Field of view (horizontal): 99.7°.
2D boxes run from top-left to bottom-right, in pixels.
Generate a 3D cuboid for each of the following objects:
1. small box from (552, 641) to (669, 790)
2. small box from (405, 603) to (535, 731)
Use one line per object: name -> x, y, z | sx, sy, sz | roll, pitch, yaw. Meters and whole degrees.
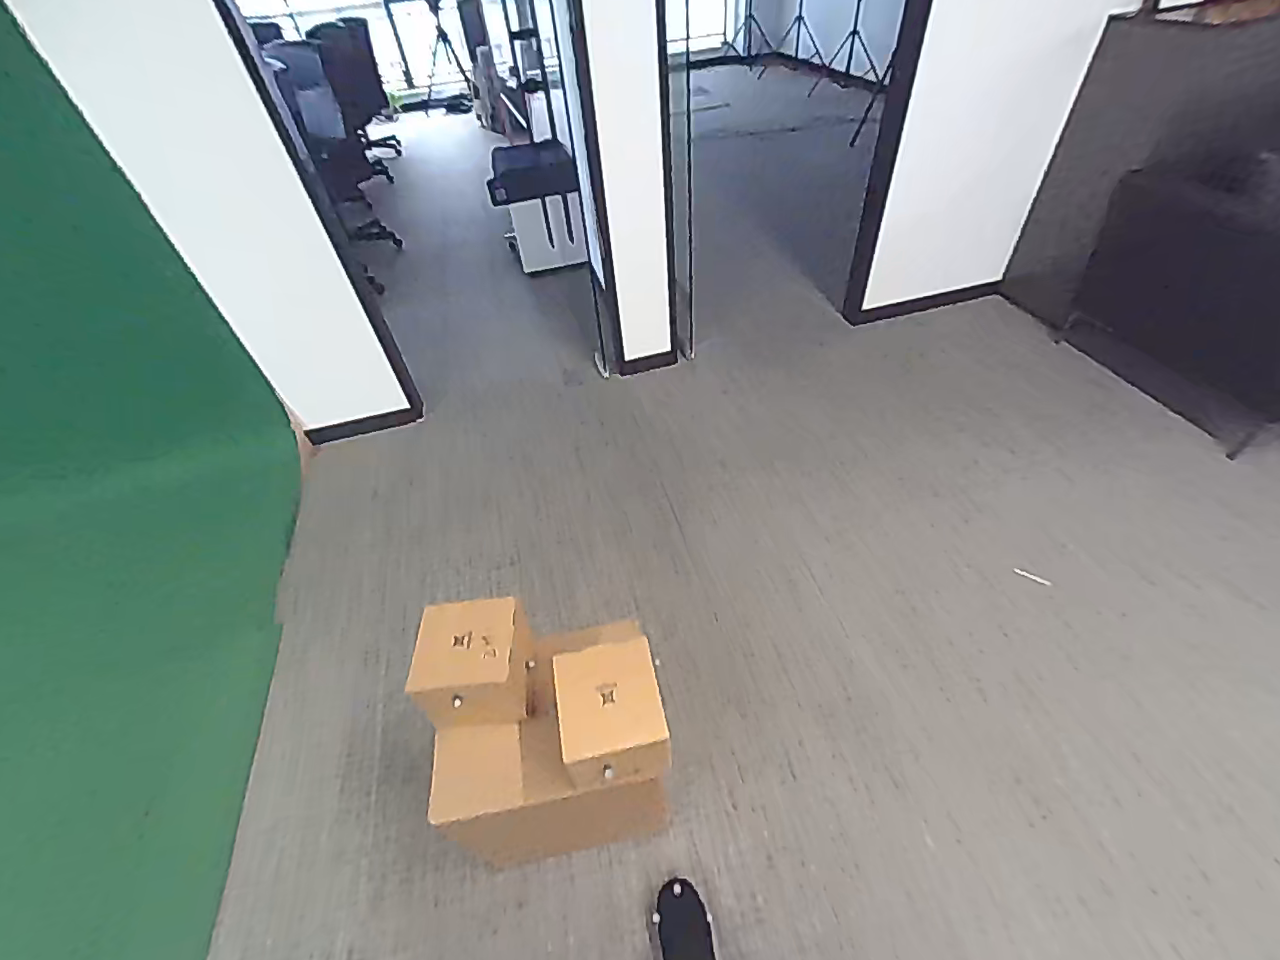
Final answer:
small box -> -0.049, 0.408, 0.926 | 0.168, 0.176, 0.179 | -11, 45, -6
small box -> -0.306, 0.352, 1.010 | 0.179, 0.176, 0.168 | -6, 45, 0
